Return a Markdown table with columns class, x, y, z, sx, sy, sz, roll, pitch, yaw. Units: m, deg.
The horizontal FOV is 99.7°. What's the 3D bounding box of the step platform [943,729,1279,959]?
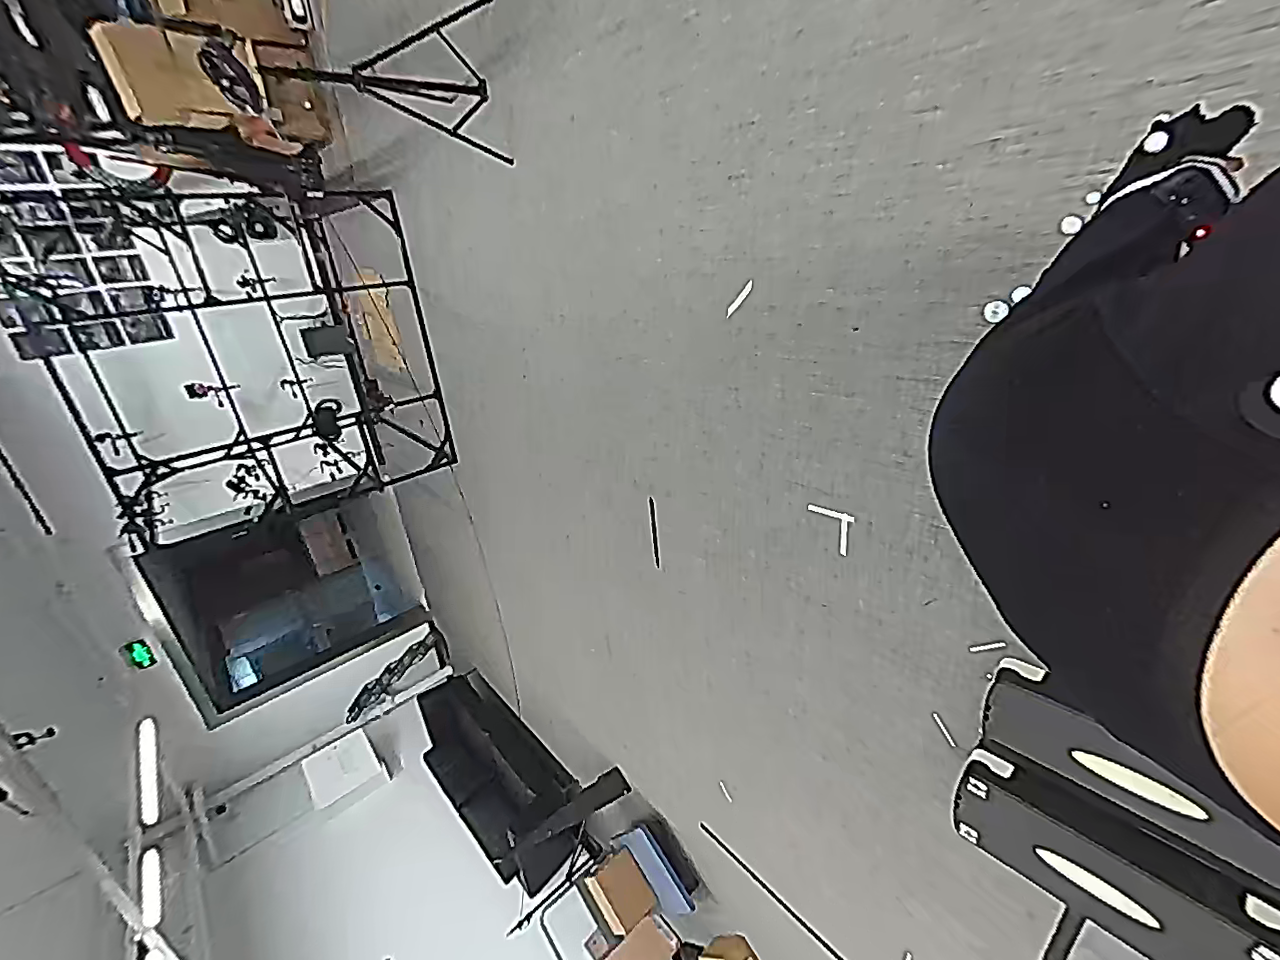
| class | x | y | z | sx | sy | sz | roll | pitch | yaw |
| --- | --- | --- | --- | --- | --- | --- | --- | --- | --- |
| step platform | 1.200 | 0.994 | 1.446 | 0.684 | 0.204 | 0.286 | 21 | 125 | 47 |
